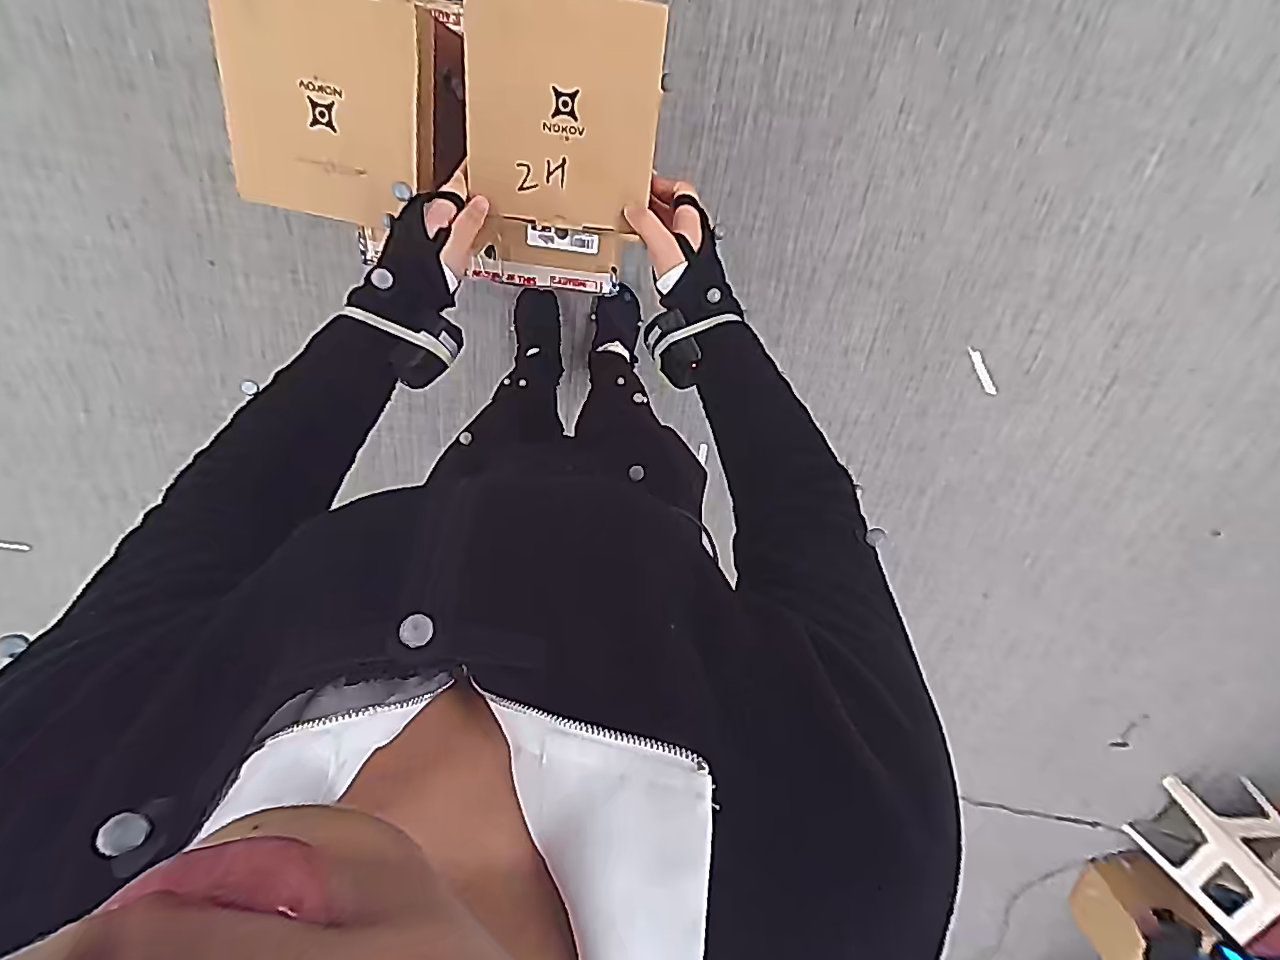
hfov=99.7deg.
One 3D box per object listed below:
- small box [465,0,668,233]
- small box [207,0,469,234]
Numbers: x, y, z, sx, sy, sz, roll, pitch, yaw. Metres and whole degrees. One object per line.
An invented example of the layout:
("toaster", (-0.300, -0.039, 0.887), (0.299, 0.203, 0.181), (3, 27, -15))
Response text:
("small box", (-0.074, -0.352, 0.536), (0.168, 0.176, 0.179), (3, 117, -7))
("small box", (-0.270, -0.359, 0.529), (0.168, 0.176, 0.179), (10, 121, -4))
